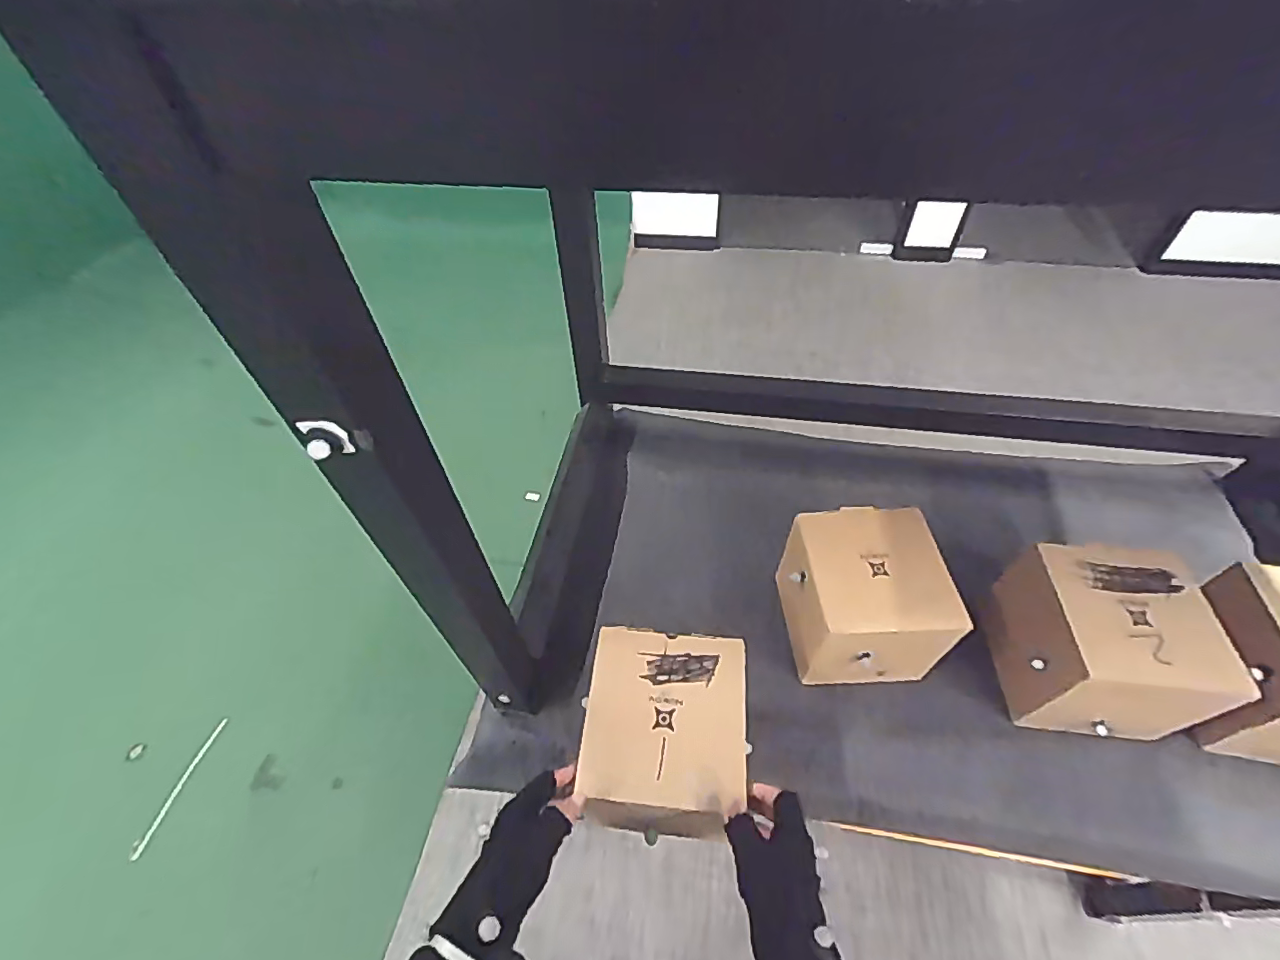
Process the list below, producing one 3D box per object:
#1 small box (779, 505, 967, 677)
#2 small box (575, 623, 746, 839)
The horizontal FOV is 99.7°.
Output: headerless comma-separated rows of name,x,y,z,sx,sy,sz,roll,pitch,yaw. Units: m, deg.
small box,0.294,0.155,0.729,0.168,0.176,0.179,-3,49,0
small box,0.028,0.289,0.622,0.168,0.176,0.179,4,50,5
